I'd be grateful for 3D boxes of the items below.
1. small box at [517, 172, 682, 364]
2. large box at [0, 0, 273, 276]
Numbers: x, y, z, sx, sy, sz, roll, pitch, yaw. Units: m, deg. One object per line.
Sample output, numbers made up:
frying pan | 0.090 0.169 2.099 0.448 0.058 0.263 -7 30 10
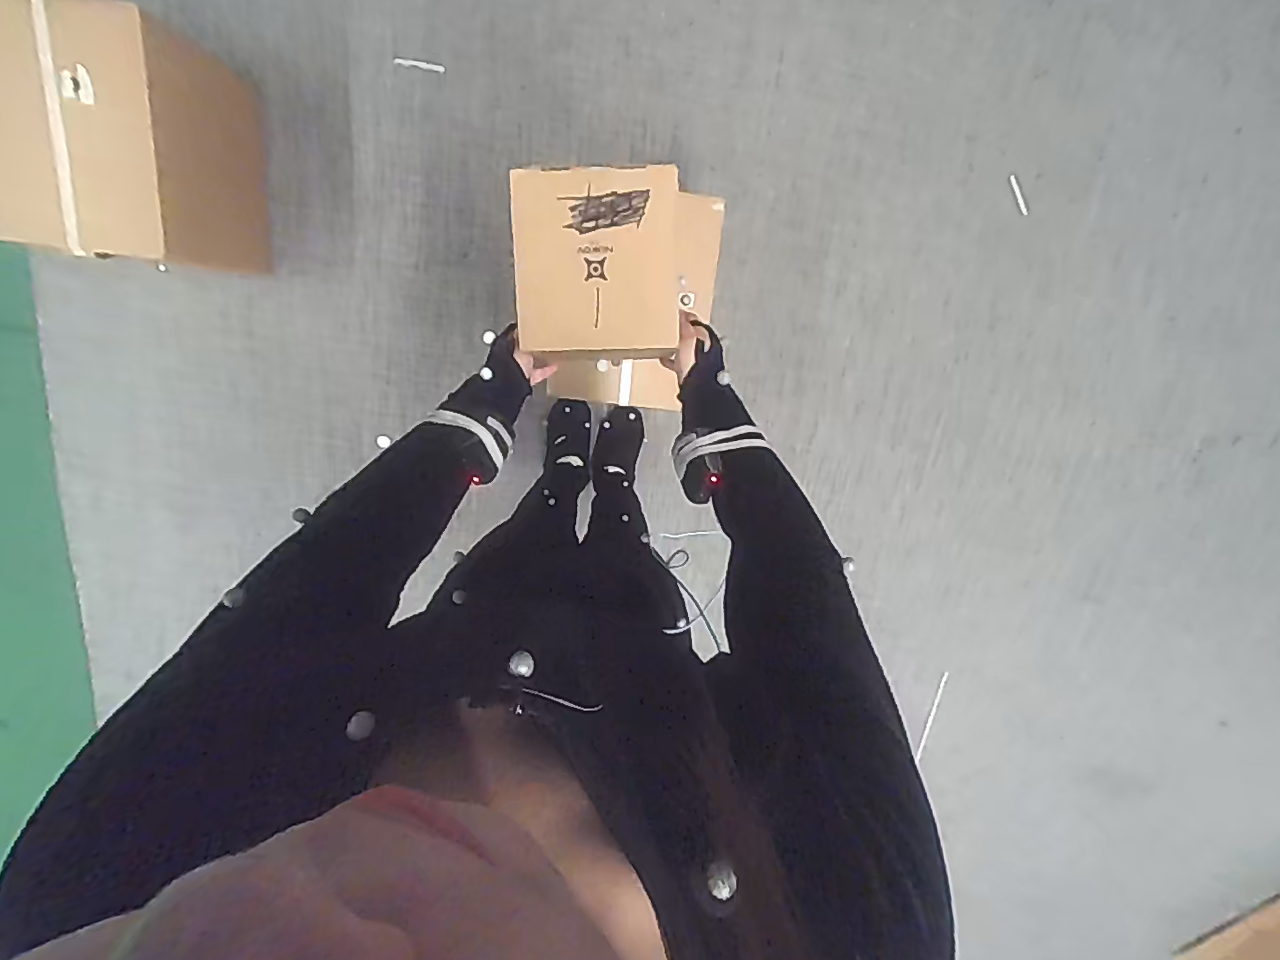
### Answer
small box | -0.040 -0.228 0.623 0.168 0.176 0.179 -1 100 1
large box | -1.001 -0.653 1.091 0.320 0.320 0.408 7 104 -3
